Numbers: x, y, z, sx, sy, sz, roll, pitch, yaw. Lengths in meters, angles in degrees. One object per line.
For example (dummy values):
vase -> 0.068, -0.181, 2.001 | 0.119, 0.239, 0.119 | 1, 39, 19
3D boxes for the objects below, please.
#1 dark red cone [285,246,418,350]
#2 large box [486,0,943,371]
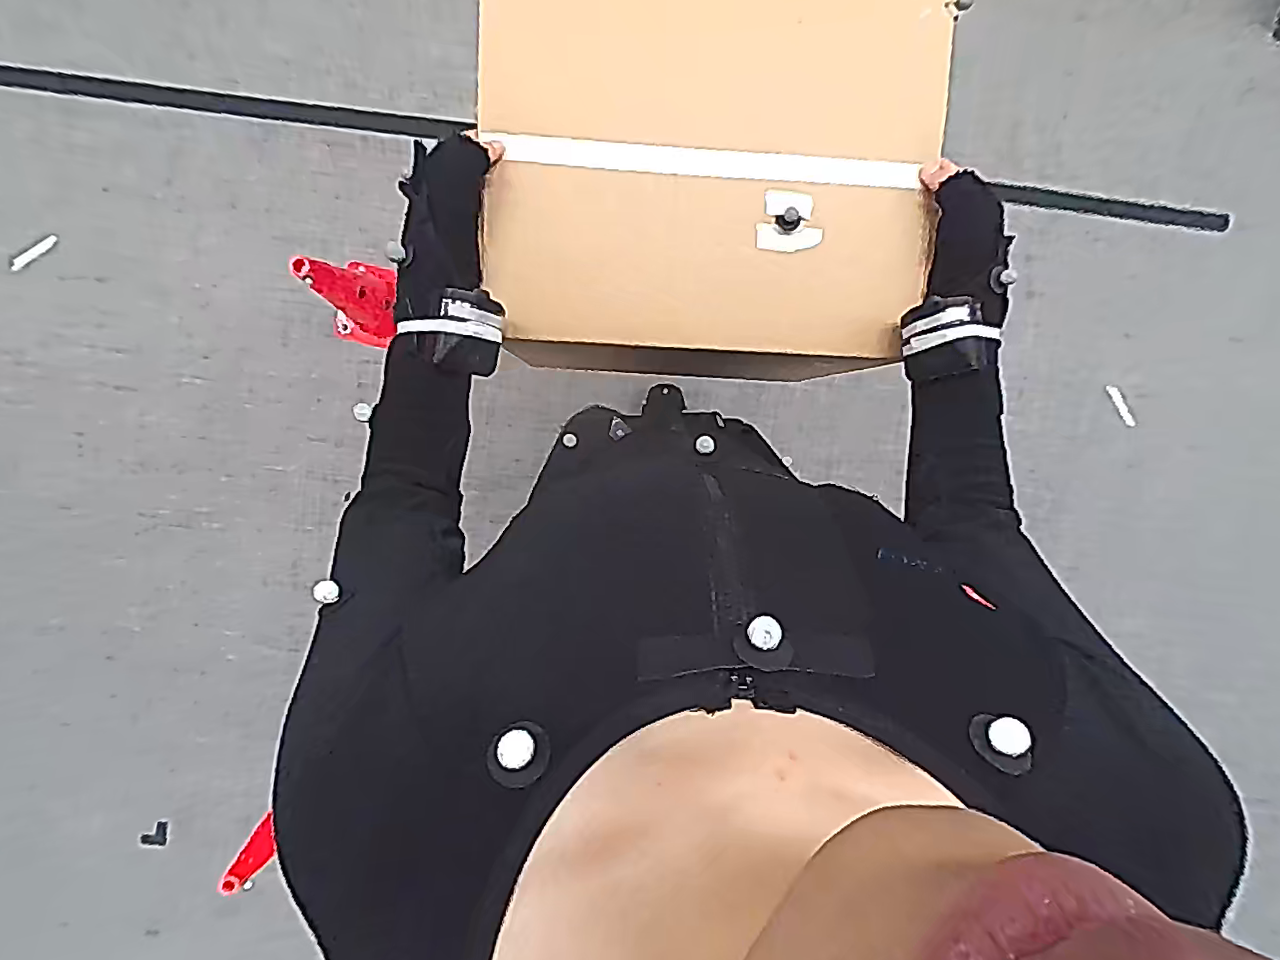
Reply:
dark red cone -> -0.661, -0.429, 1.203 | 0.201, 0.394, 0.202 | 12, 94, -4
large box -> 0.054, -0.299, 0.623 | 0.408, 0.320, 0.320 | 2, 97, -5
